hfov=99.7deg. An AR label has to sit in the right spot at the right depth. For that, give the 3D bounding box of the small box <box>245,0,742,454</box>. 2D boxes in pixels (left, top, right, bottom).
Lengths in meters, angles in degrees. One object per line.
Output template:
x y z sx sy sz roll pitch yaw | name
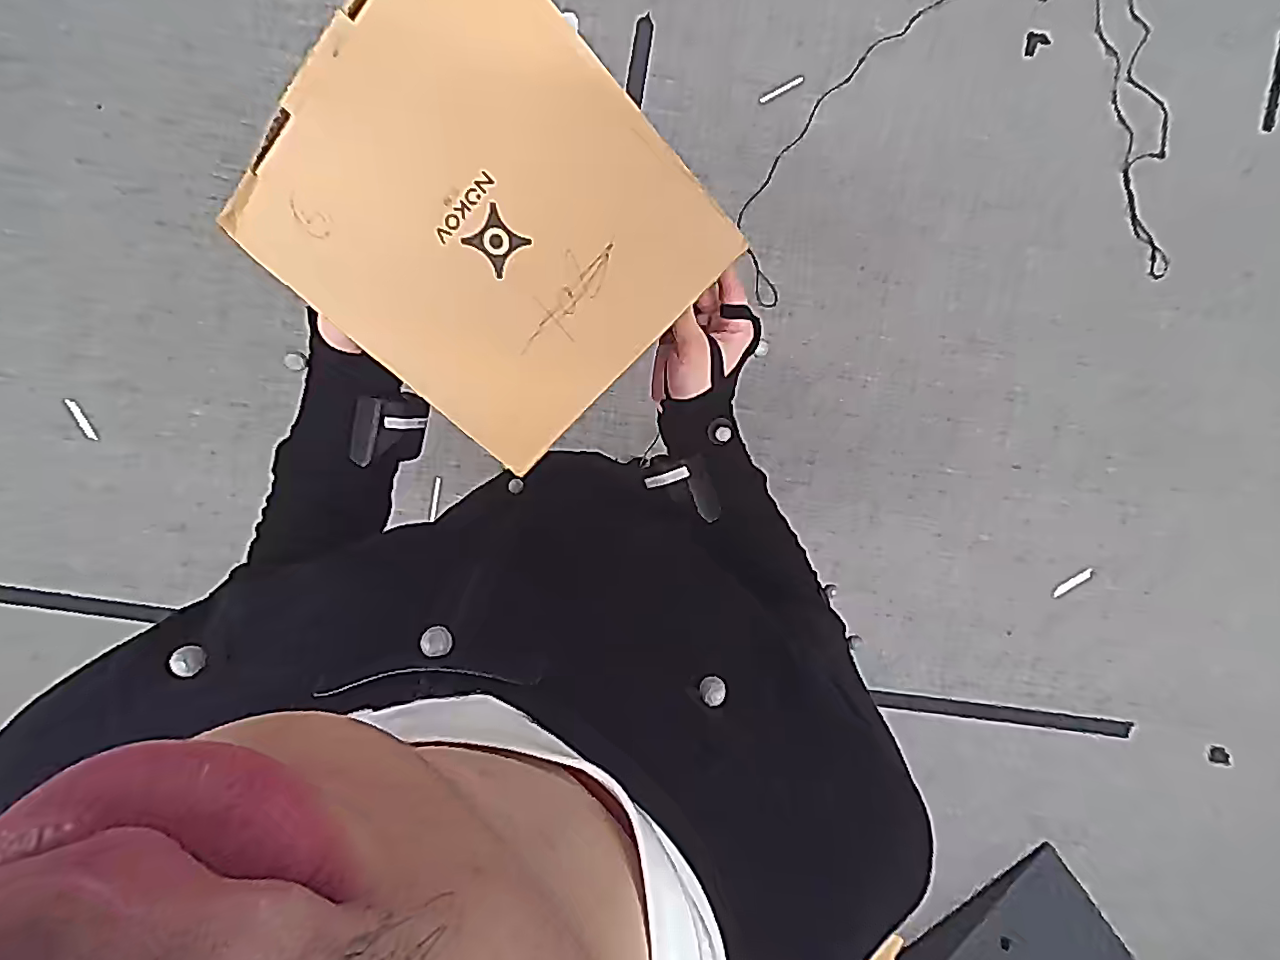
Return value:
-0.071 -0.151 0.328 0.168 0.176 0.179 -43 111 15 | small box
